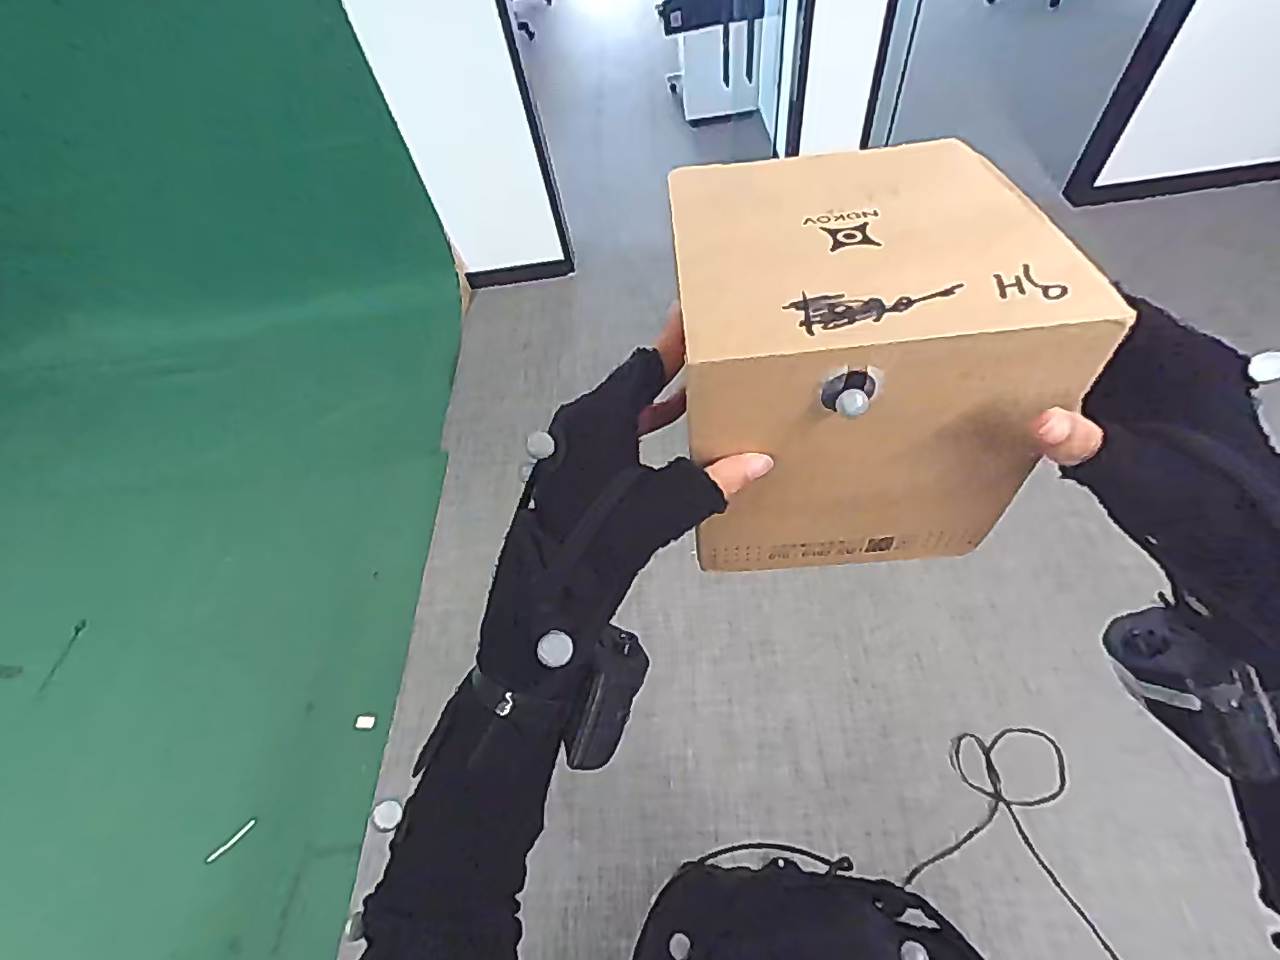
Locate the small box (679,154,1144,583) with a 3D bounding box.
[{"bbox_3d":[0.111,-0.060,0.316,0.168,0.176,0.179,-5,50,5],"label":"small box"}]
